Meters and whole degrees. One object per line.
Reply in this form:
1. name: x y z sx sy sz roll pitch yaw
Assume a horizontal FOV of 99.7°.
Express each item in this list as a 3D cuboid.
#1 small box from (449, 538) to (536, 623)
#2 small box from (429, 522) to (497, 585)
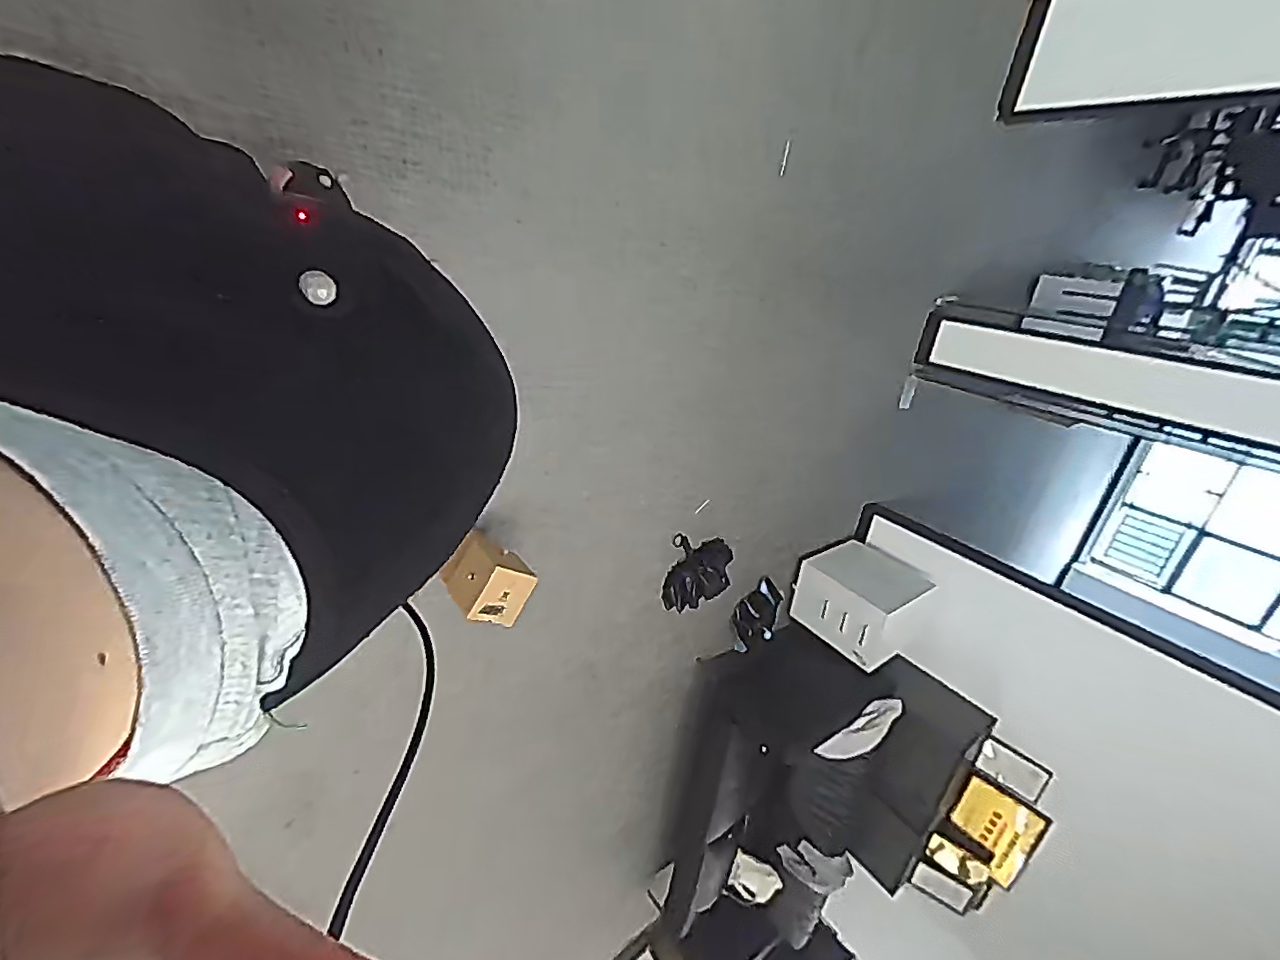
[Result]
1. small box: -0.455 0.303 1.642 0.168 0.176 0.179 29 92 -46
2. small box: -0.553 0.263 1.771 0.168 0.176 0.179 -50 134 -7
